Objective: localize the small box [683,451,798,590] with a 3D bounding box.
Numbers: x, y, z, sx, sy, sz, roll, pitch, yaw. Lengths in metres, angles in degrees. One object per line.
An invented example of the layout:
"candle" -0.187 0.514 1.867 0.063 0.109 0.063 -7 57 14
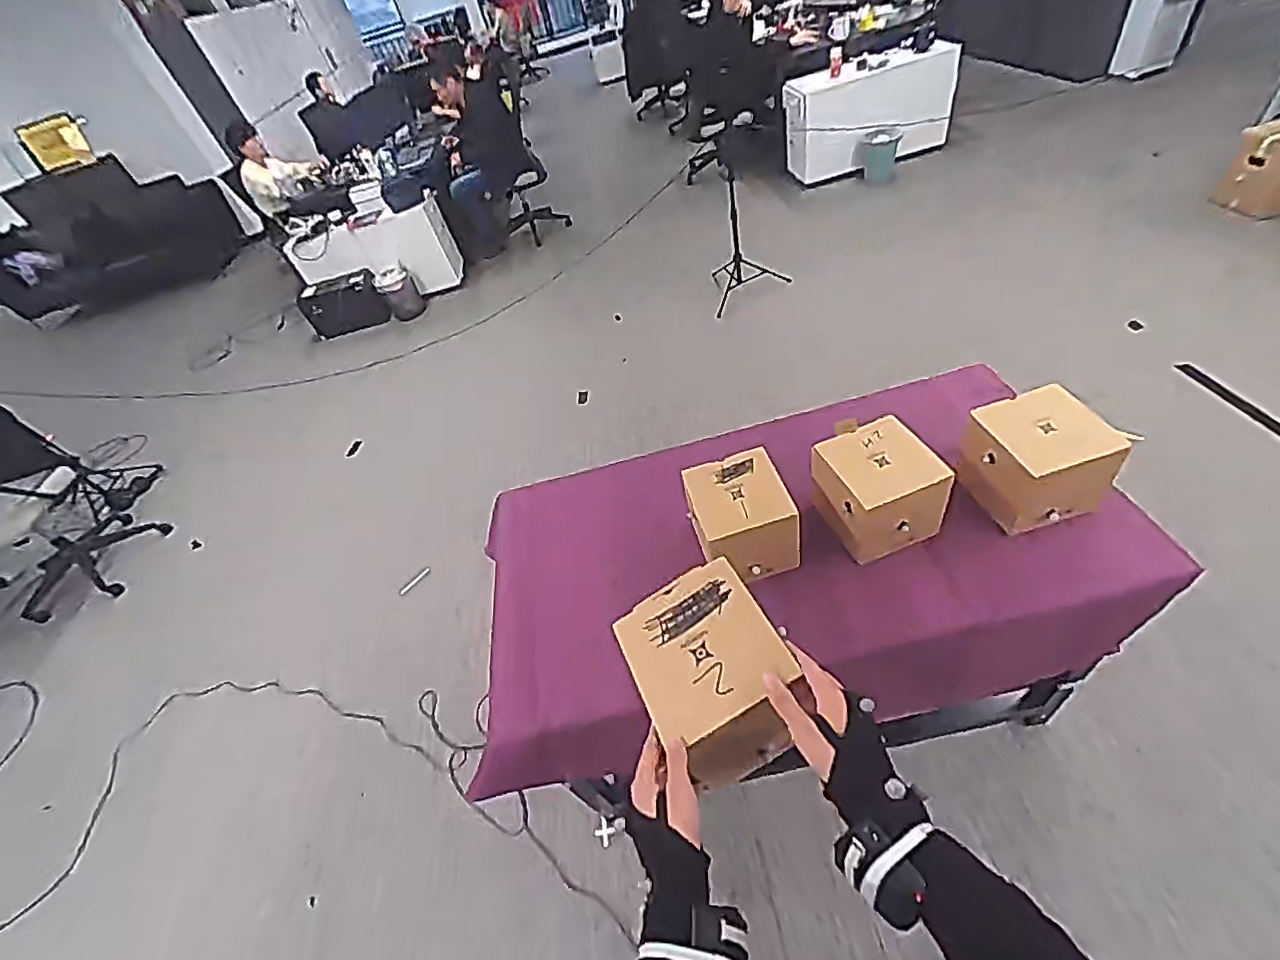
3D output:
"small box" 0.190 0.079 1.033 0.168 0.176 0.179 -17 46 1

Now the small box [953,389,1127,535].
"small box" 0.702 -0.031 0.979 0.168 0.176 0.179 -18 45 1

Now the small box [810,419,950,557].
"small box" 0.436 0.022 1.010 0.168 0.176 0.179 -21 45 -4
